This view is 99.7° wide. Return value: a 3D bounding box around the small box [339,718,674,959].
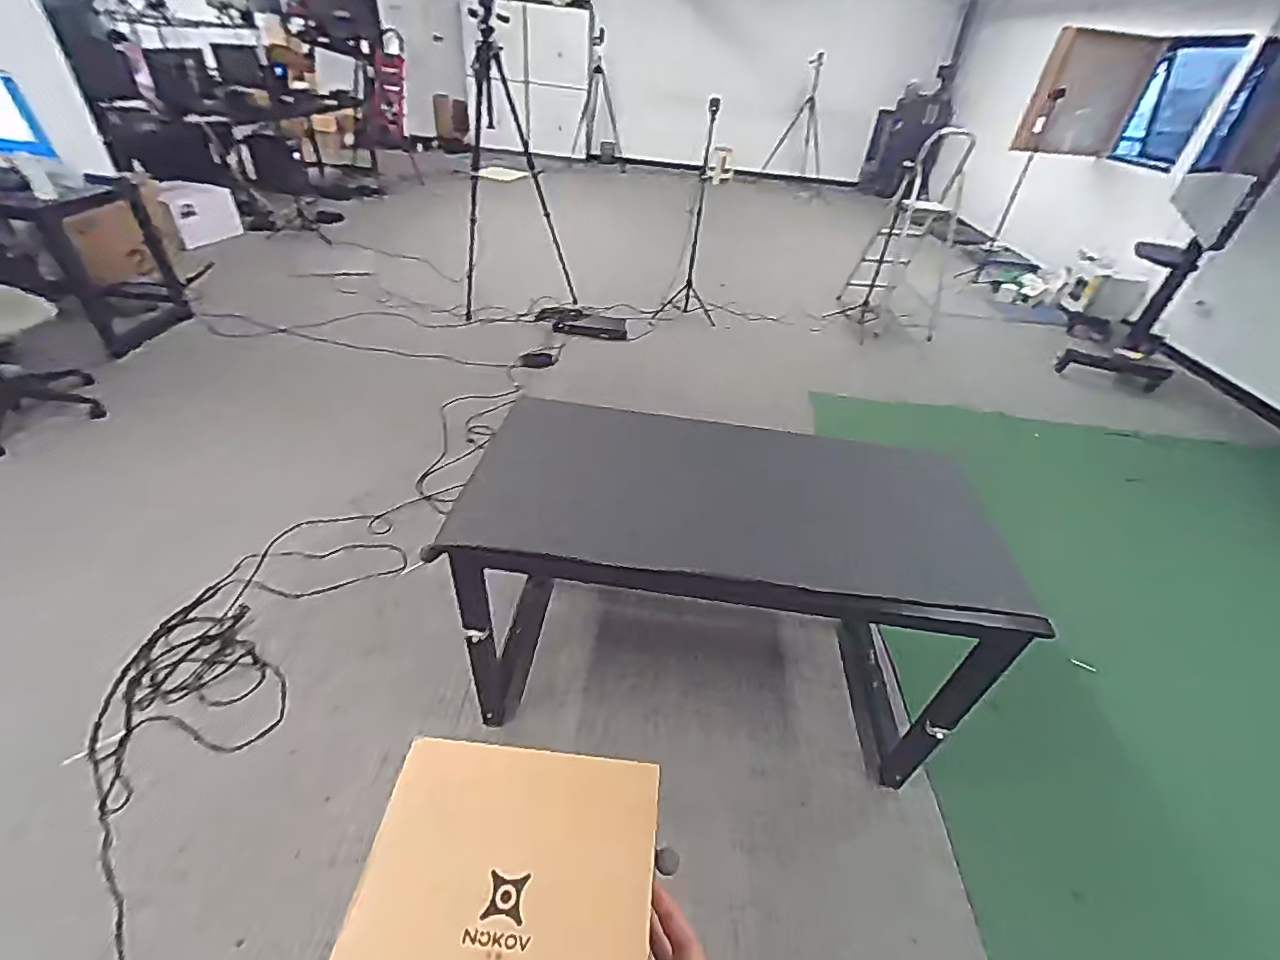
[{"bbox_3d":[-0.072,0.285,0.354,0.168,0.176,0.179,6,44,2],"label":"small box"}]
